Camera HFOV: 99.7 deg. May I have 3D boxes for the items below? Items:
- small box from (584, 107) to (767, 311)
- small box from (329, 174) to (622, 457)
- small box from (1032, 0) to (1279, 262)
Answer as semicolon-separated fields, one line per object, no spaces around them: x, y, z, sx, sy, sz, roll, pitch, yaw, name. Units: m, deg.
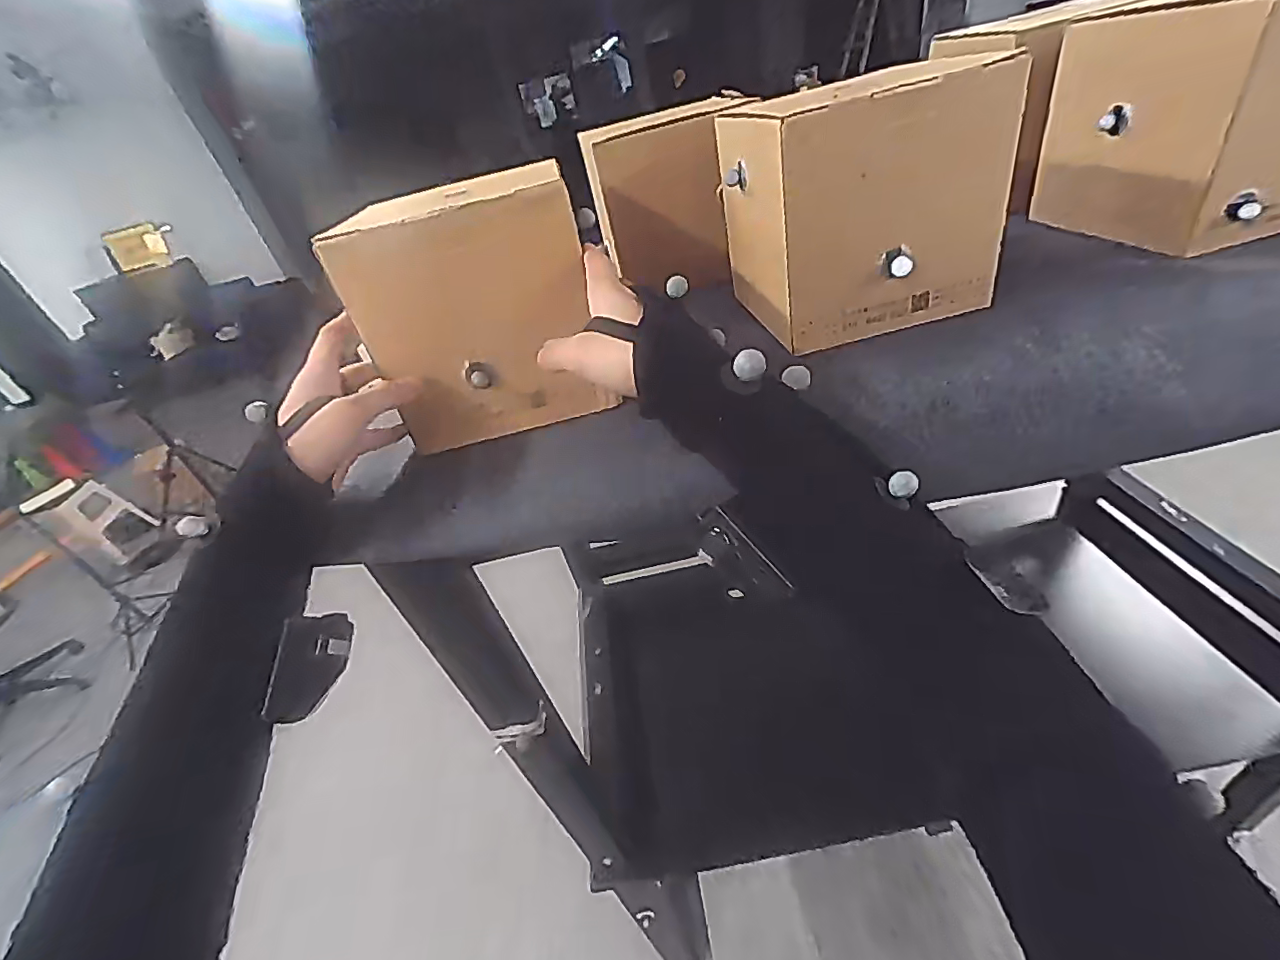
0.042;-0.322;0.642;0.179;0.176;0.168;-15;36;-1;small box
-0.118;-0.144;0.460;0.168;0.176;0.179;-15;35;-1;small box
0.485;-0.300;0.461;0.168;0.176;0.179;-14;36;0;small box
